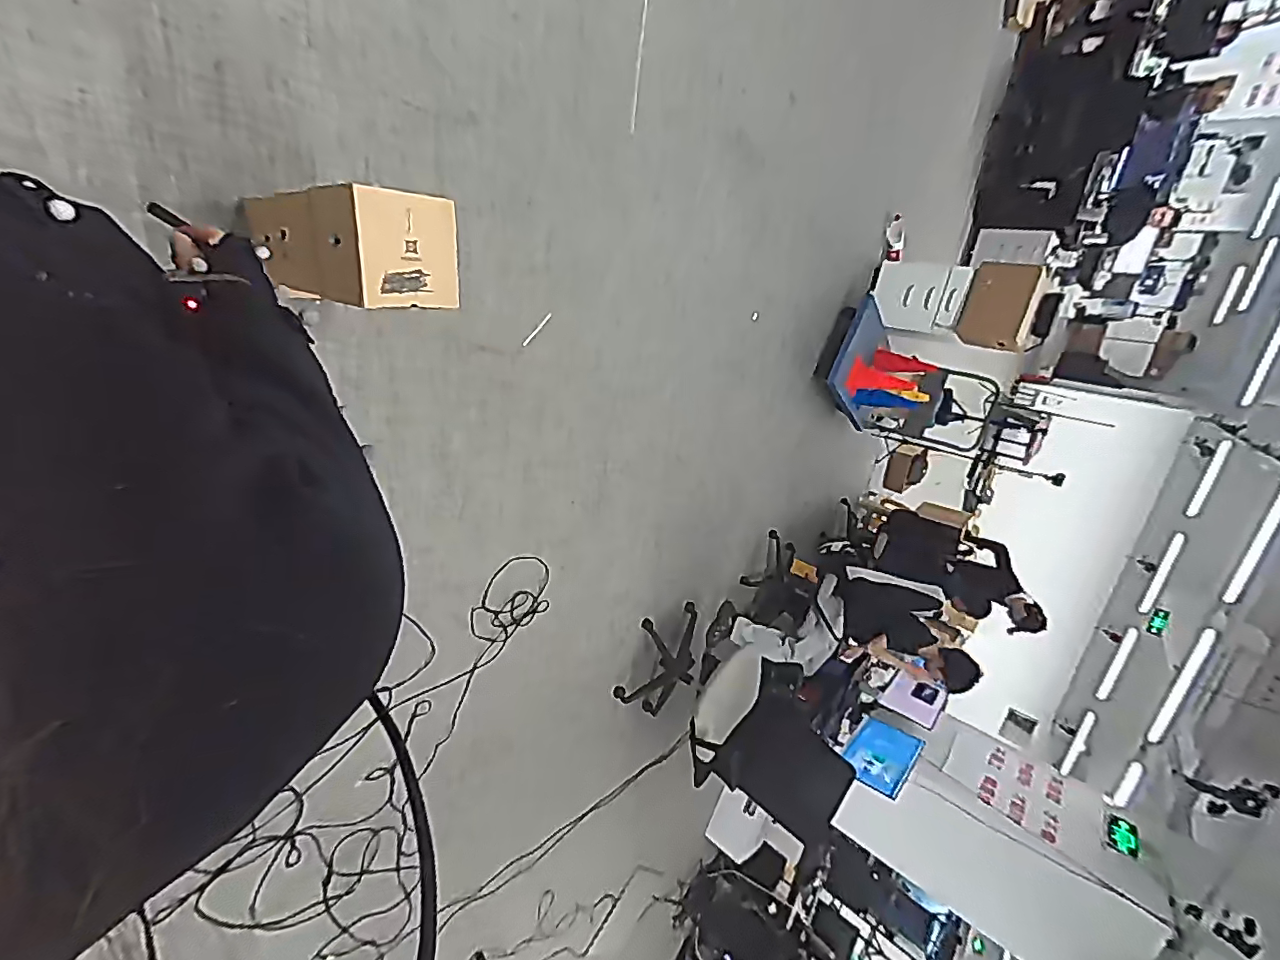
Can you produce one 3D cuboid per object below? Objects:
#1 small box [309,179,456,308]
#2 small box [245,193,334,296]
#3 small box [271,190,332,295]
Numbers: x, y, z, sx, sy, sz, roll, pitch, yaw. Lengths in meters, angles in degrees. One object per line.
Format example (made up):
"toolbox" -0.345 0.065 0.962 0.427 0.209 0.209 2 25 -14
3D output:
"small box" -0.430 -0.390 0.909 0.168 0.176 0.179 -18 120 -46
"small box" -0.678 -0.475 1.106 0.168 0.176 0.179 -18 121 -46
"small box" -0.552 -0.437 1.009 0.179 0.176 0.168 -19 121 -45
